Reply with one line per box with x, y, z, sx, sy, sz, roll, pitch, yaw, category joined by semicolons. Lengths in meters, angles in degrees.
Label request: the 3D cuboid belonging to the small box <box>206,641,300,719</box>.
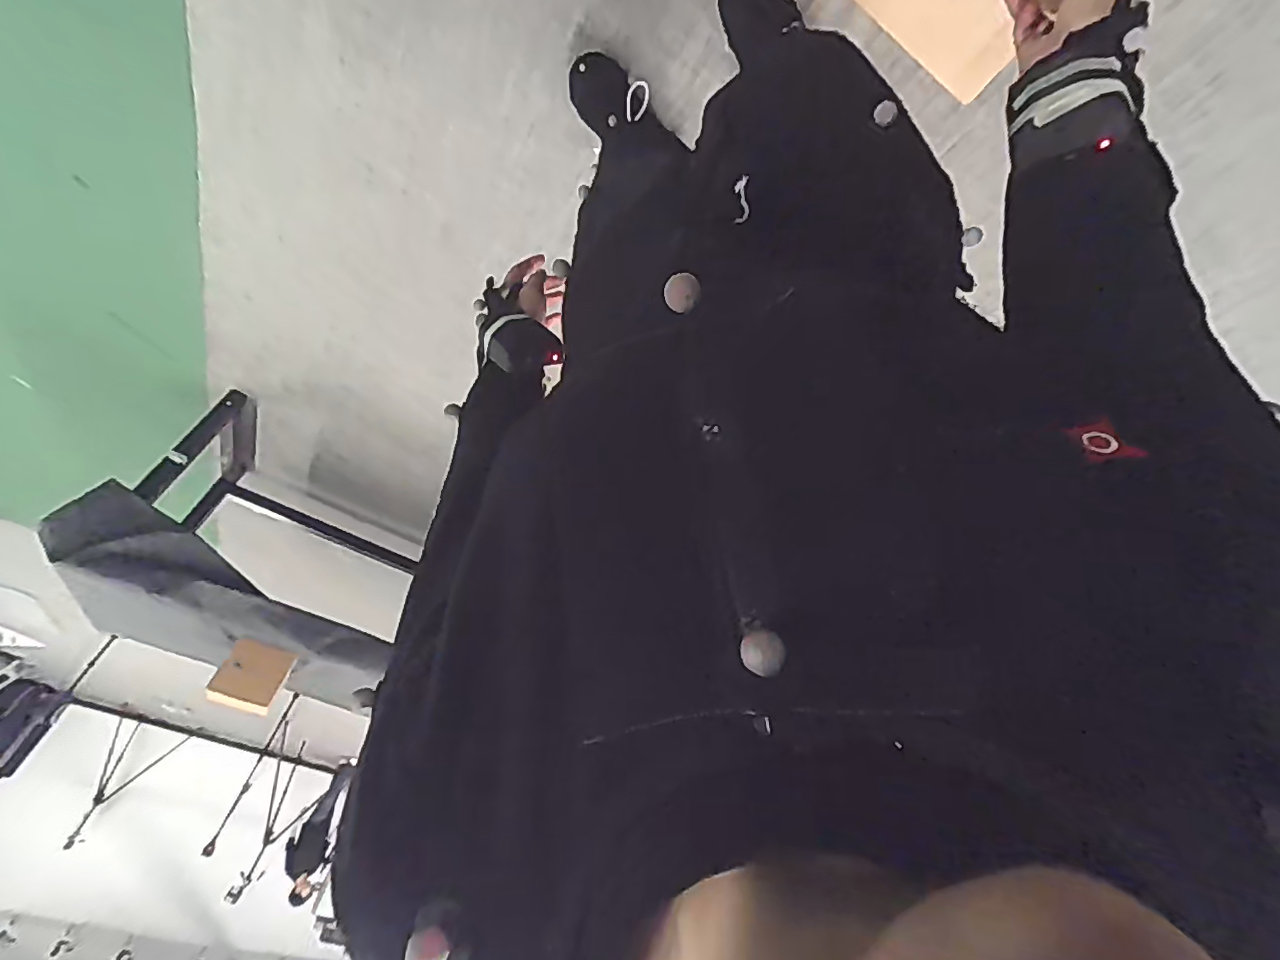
-1.191;0.614;1.669;0.179;0.176;0.168;28;140;-18;small box

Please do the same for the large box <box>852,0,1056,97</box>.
0.367;-0.778;0.653;0.408;0.320;0.320;26;139;-17;large box
